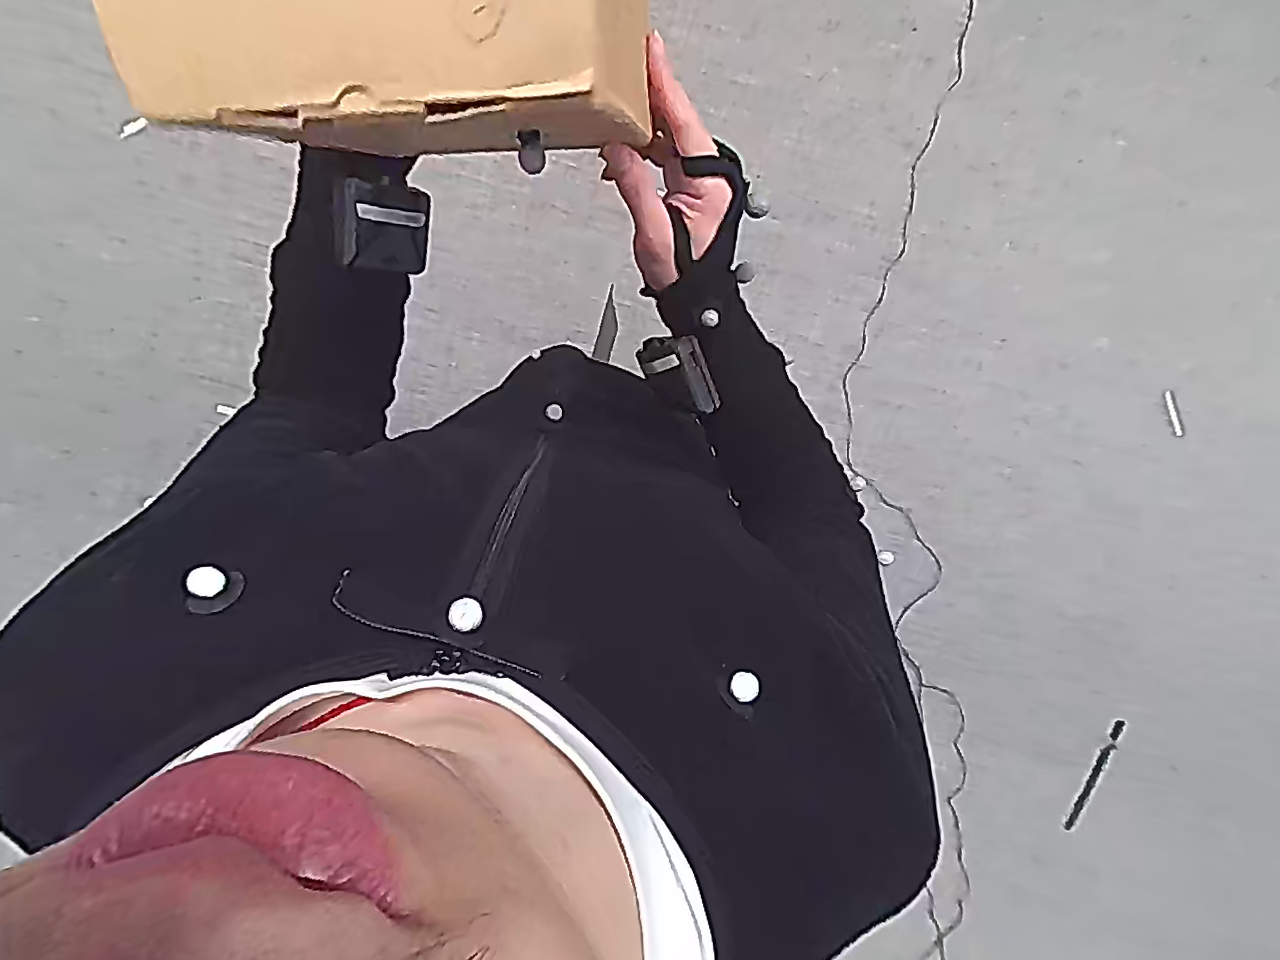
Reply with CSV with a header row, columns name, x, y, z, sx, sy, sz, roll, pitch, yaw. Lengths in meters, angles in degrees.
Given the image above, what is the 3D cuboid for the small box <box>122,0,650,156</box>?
name,x,y,z,sx,sy,sz,roll,pitch,yaw
small box,-0.087,-0.240,0.224,0.168,0.176,0.179,1,117,7
